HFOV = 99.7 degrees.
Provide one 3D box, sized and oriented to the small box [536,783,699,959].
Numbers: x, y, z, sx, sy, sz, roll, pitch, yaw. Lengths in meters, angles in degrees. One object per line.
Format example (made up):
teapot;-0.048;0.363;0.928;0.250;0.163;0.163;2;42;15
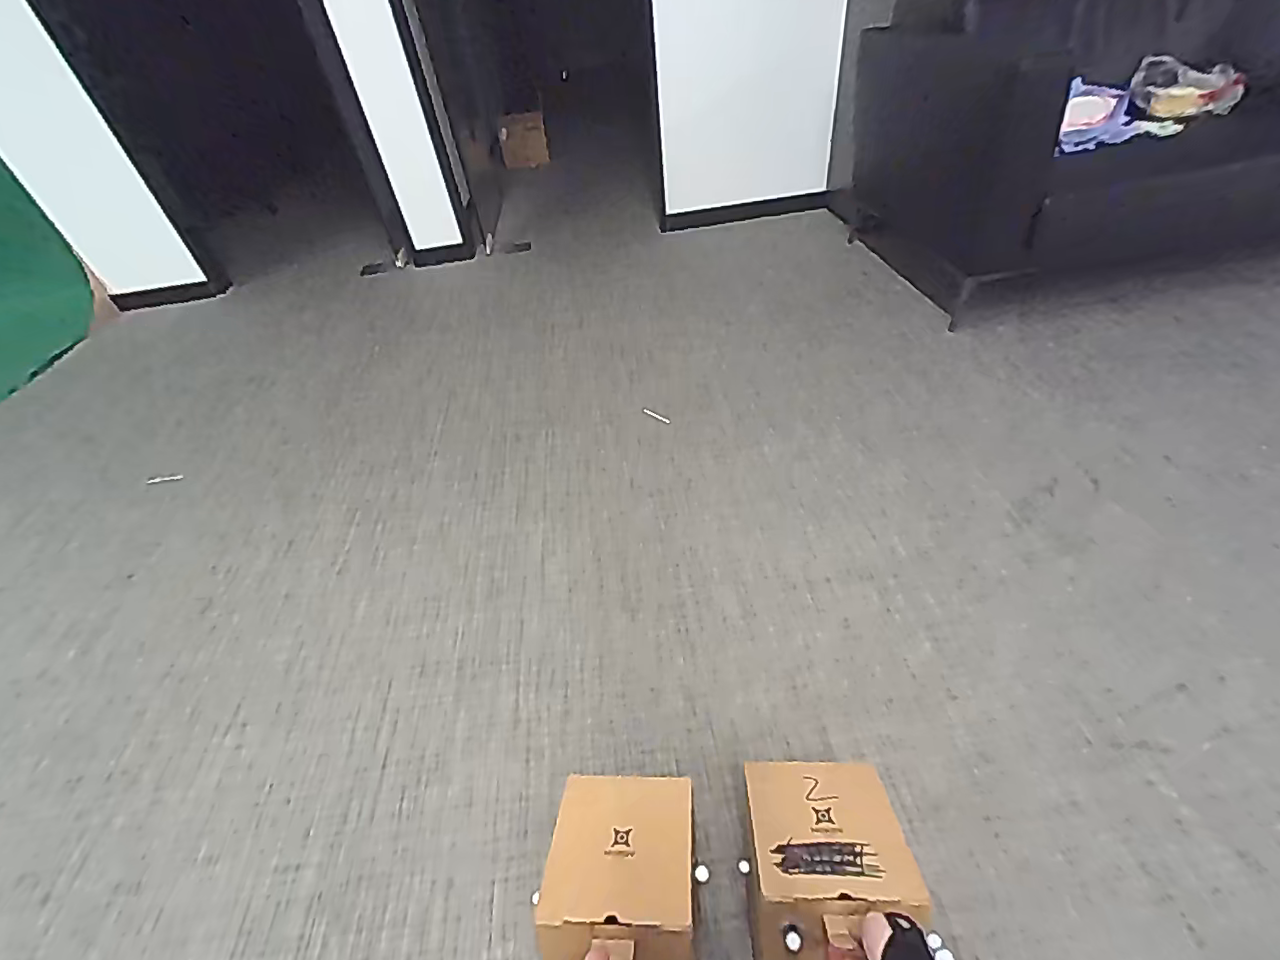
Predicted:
small box;-0.015;0.506;0.659;0.168;0.176;0.179;-3;23;6
